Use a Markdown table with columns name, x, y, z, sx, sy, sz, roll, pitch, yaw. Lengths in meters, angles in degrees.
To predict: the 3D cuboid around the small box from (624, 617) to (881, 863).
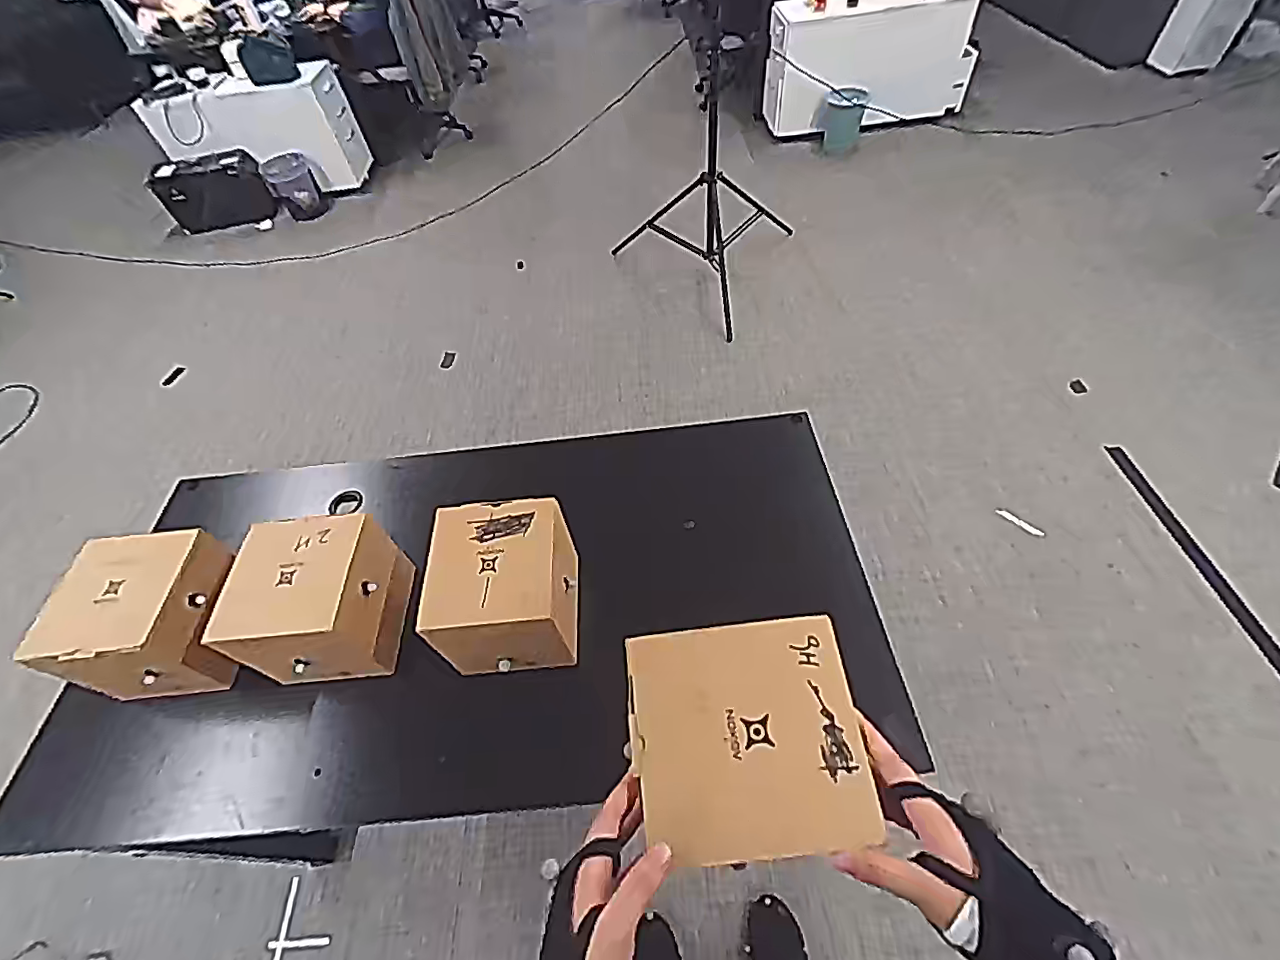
| name | x | y | z | sx | sy | sz | roll | pitch | yaw |
| --- | --- | --- | --- | --- | --- | --- | --- | --- | --- |
| small box | 0.086 | 0.235 | 0.491 | 0.179 | 0.176 | 0.168 | -7 | 61 | 1 |

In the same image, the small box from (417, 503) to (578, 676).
| name | x | y | z | sx | sy | sz | roll | pitch | yaw |
| --- | --- | --- | --- | --- | --- | --- | --- | --- | --- |
| small box | -0.182 | 0.154 | 0.751 | 0.168 | 0.176 | 0.179 | -6 | 53 | 2 |

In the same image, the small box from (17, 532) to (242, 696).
| name | x | y | z | sx | sy | sz | roll | pitch | yaw |
| --- | --- | --- | --- | --- | --- | --- | --- | --- | --- |
| small box | -0.684 | 0.199 | 0.775 | 0.168 | 0.176 | 0.179 | -6 | 51 | 0 |

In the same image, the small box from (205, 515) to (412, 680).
| name | x | y | z | sx | sy | sz | roll | pitch | yaw |
| --- | --- | --- | --- | --- | --- | --- | --- | --- | --- |
| small box | -0.446 | 0.173 | 0.765 | 0.168 | 0.176 | 0.179 | -5 | 52 | 1 |
